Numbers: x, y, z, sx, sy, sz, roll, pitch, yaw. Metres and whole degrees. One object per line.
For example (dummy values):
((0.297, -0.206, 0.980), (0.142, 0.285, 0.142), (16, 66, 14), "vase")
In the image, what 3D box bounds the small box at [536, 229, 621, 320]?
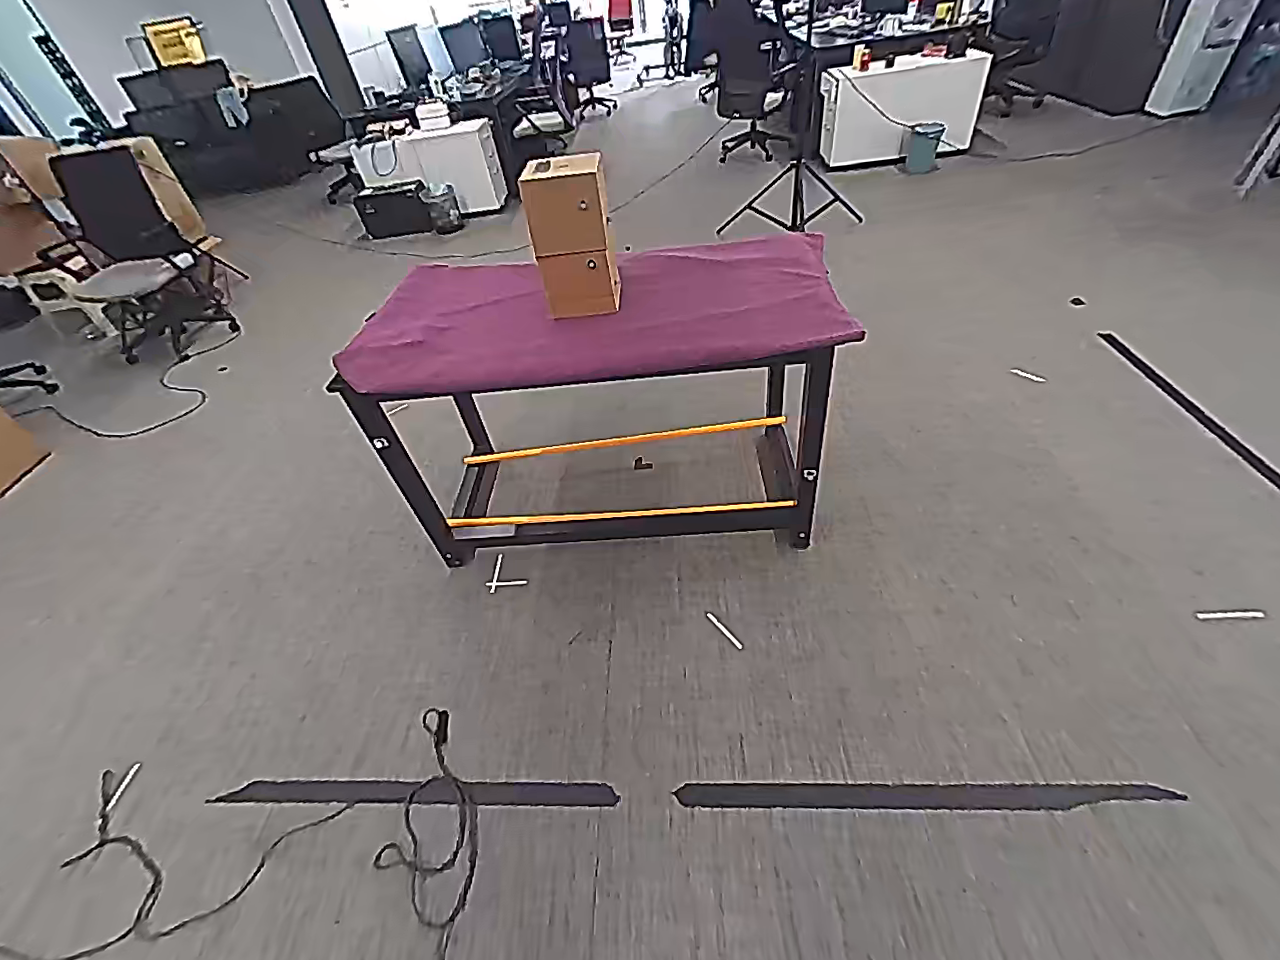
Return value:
((-0.152, -0.527, 1.398), (0.179, 0.176, 0.168), (-4, 43, 5), "small box")
